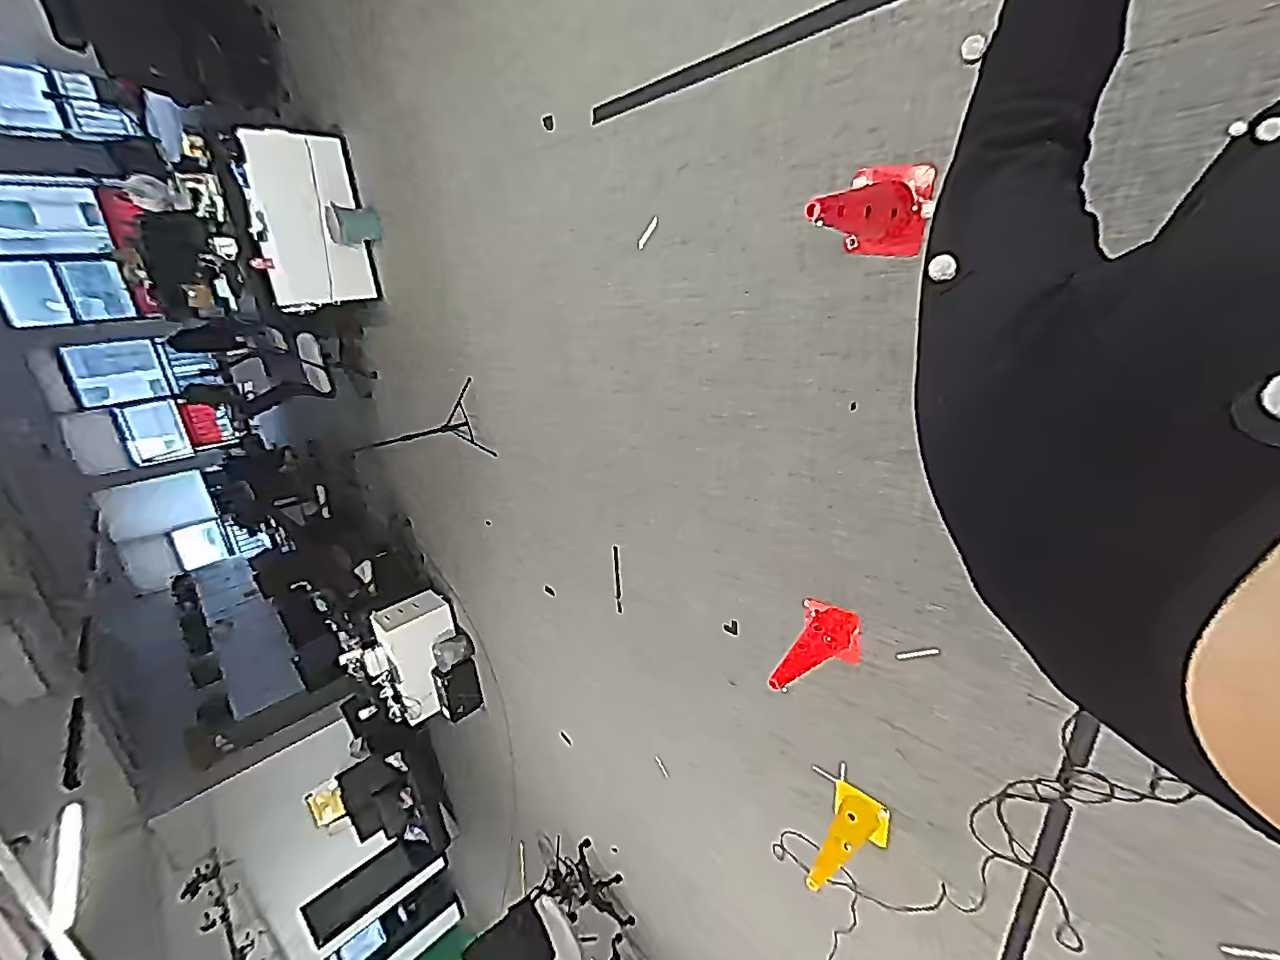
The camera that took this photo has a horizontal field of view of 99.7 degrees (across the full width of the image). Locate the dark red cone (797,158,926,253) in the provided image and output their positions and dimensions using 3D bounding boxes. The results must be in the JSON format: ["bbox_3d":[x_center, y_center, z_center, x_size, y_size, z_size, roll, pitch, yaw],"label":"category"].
[{"bbox_3d":[0.471,-0.621,1.225,0.201,0.394,0.202,23,124,40],"label":"dark red cone"}]

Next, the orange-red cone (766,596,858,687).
[{"bbox_3d":[0.531,0.564,1.757,0.198,0.360,0.199,15,120,46],"label":"orange-red cone"}]
